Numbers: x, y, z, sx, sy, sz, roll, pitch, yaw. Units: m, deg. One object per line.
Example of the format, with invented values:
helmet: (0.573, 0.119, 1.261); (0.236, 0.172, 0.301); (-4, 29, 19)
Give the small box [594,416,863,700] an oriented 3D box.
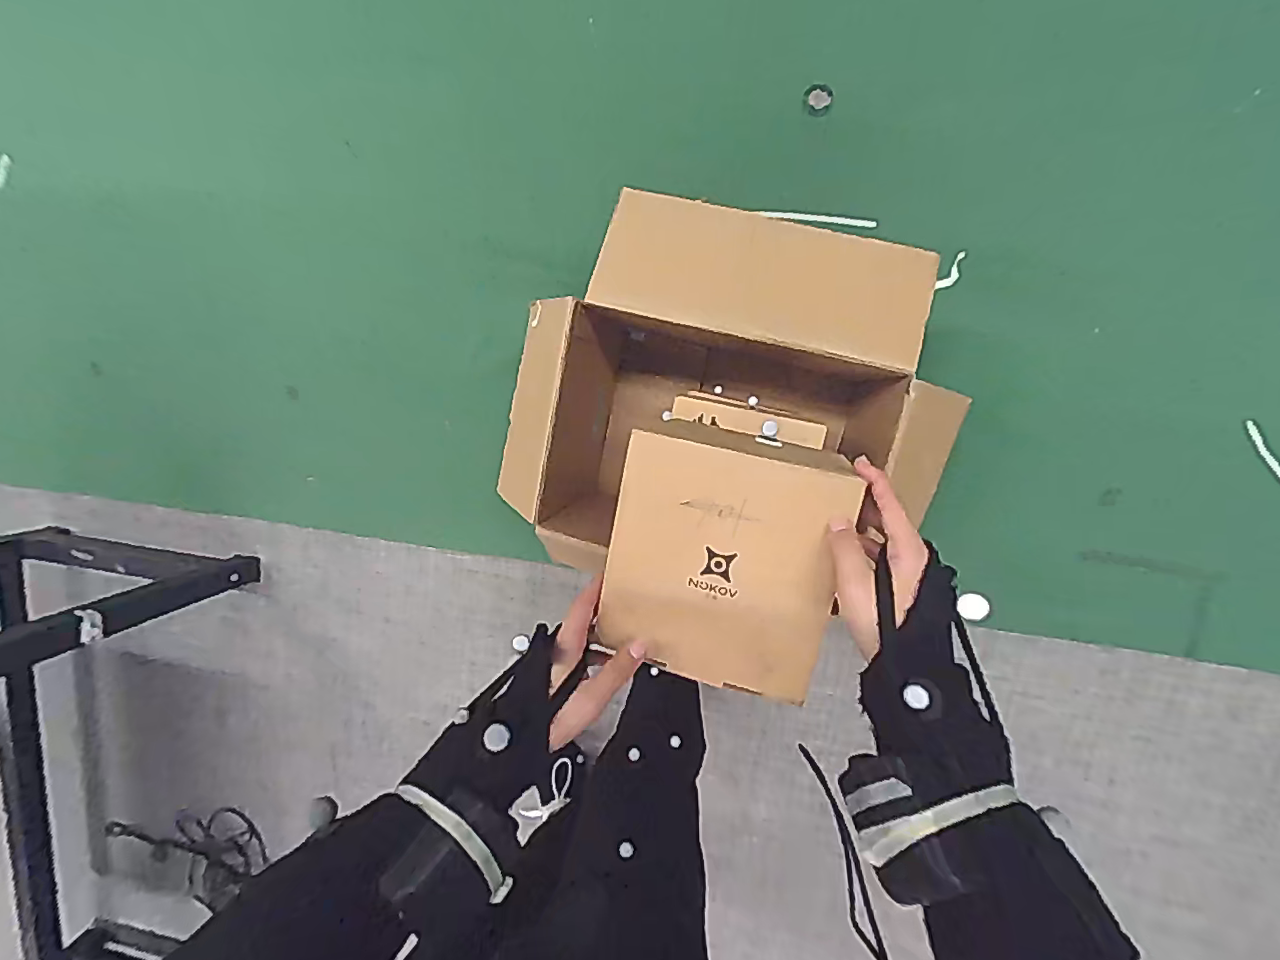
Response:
small box: (0.075, 0.047, 0.465); (0.168, 0.176, 0.179); (13, 101, 11)
